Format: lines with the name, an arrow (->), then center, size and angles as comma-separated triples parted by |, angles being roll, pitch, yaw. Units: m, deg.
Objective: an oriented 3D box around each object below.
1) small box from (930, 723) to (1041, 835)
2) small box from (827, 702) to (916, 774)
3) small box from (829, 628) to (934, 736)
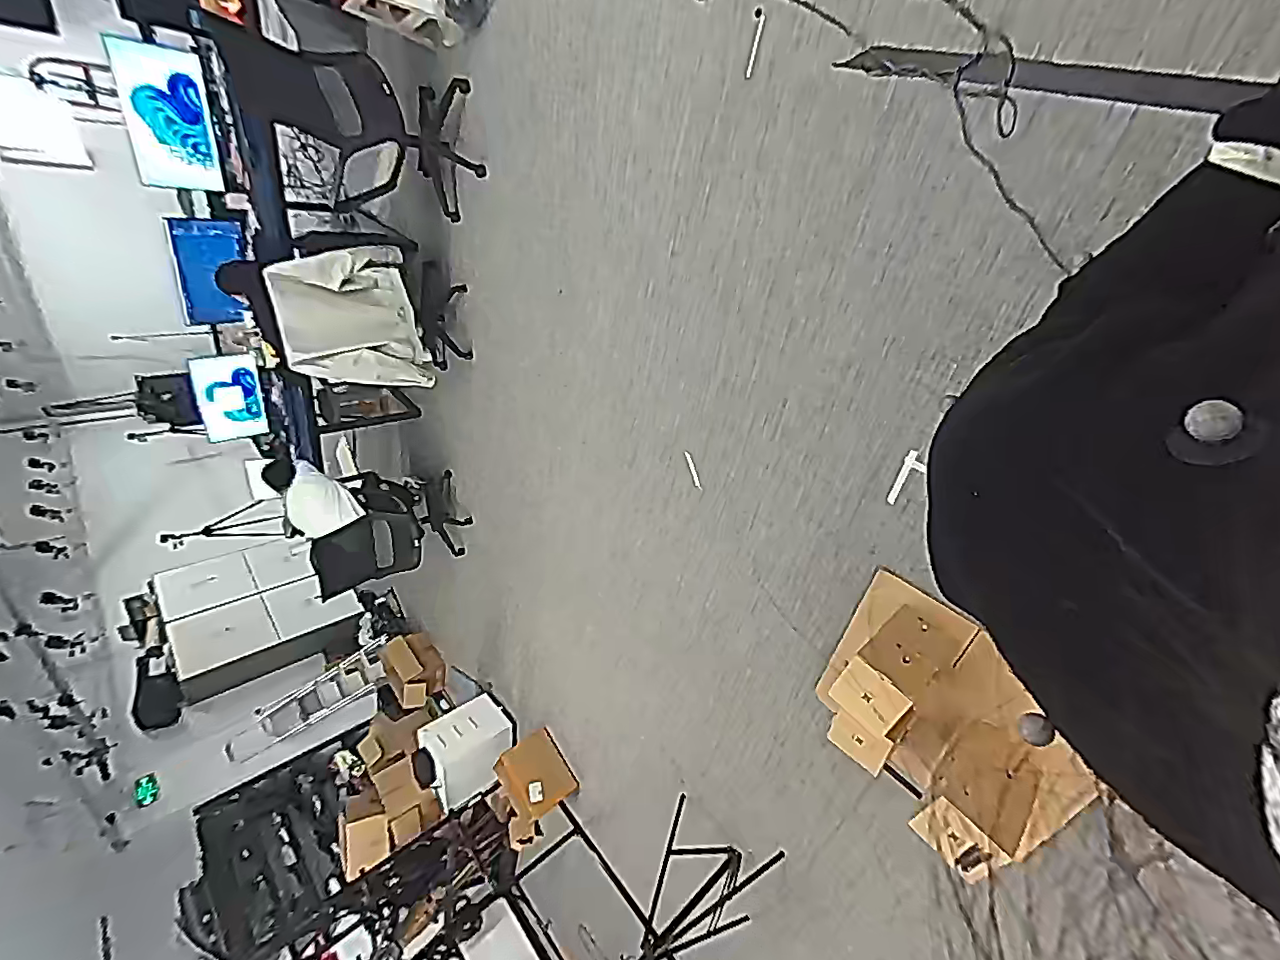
small box -> 0.939, 0.805, 1.466 | 0.179, 0.176, 0.168 | 43, 132, 27
small box -> 0.724, 0.763, 1.694 | 0.179, 0.176, 0.168 | 33, 128, 37
small box -> 0.645, 0.533, 1.440 | 0.168, 0.176, 0.179 | 40, 130, 31
